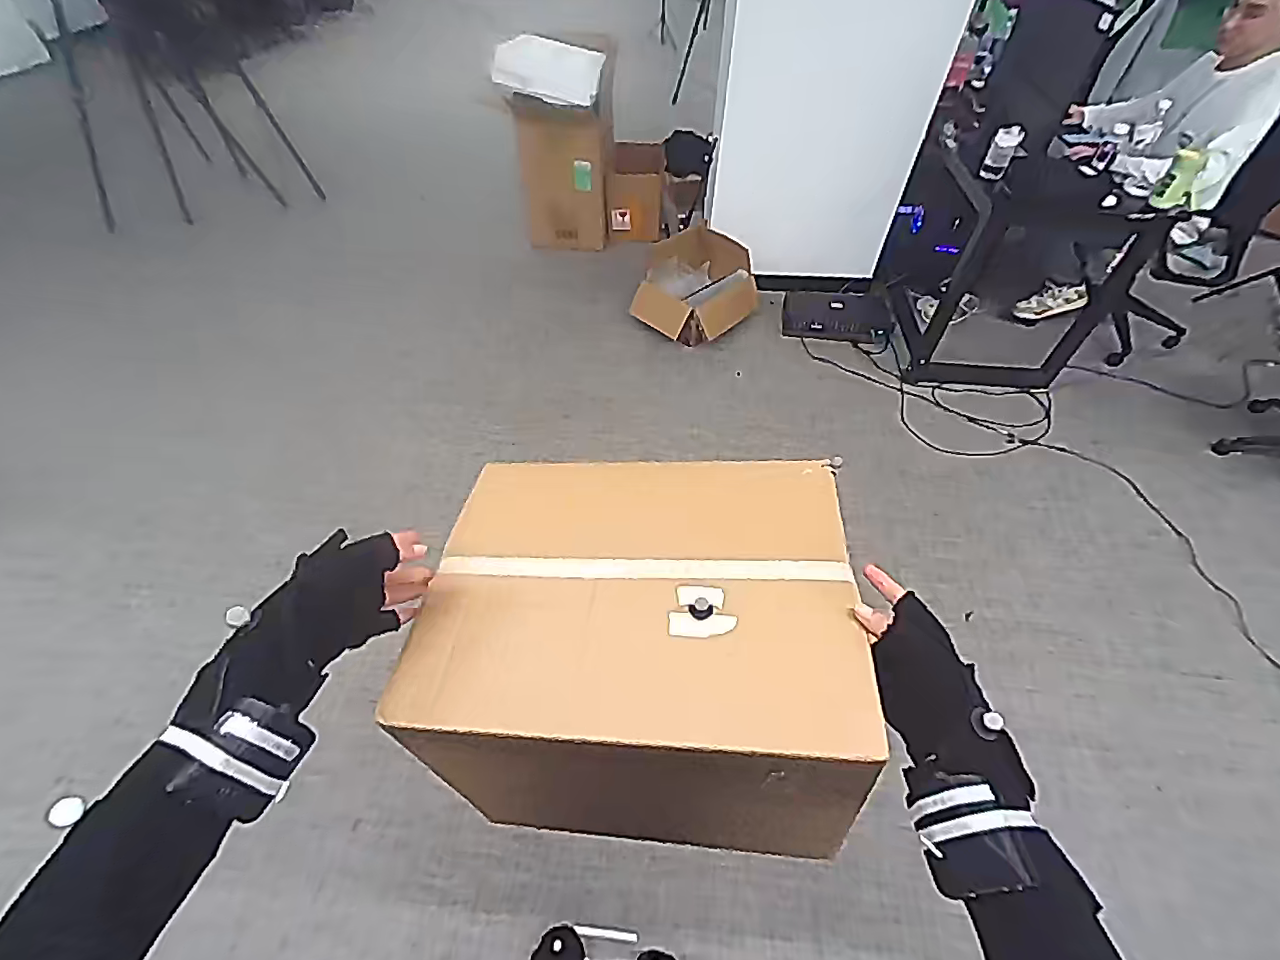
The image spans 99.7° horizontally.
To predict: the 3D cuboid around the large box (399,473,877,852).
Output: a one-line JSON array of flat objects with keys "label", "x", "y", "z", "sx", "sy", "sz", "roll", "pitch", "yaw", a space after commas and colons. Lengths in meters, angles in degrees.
[{"label": "large box", "x": 0.017, "y": 0.208, "z": 0.642, "sx": 0.408, "sy": 0.320, "sz": 0.320, "roll": 0, "pitch": 44, "yaw": 10}]
